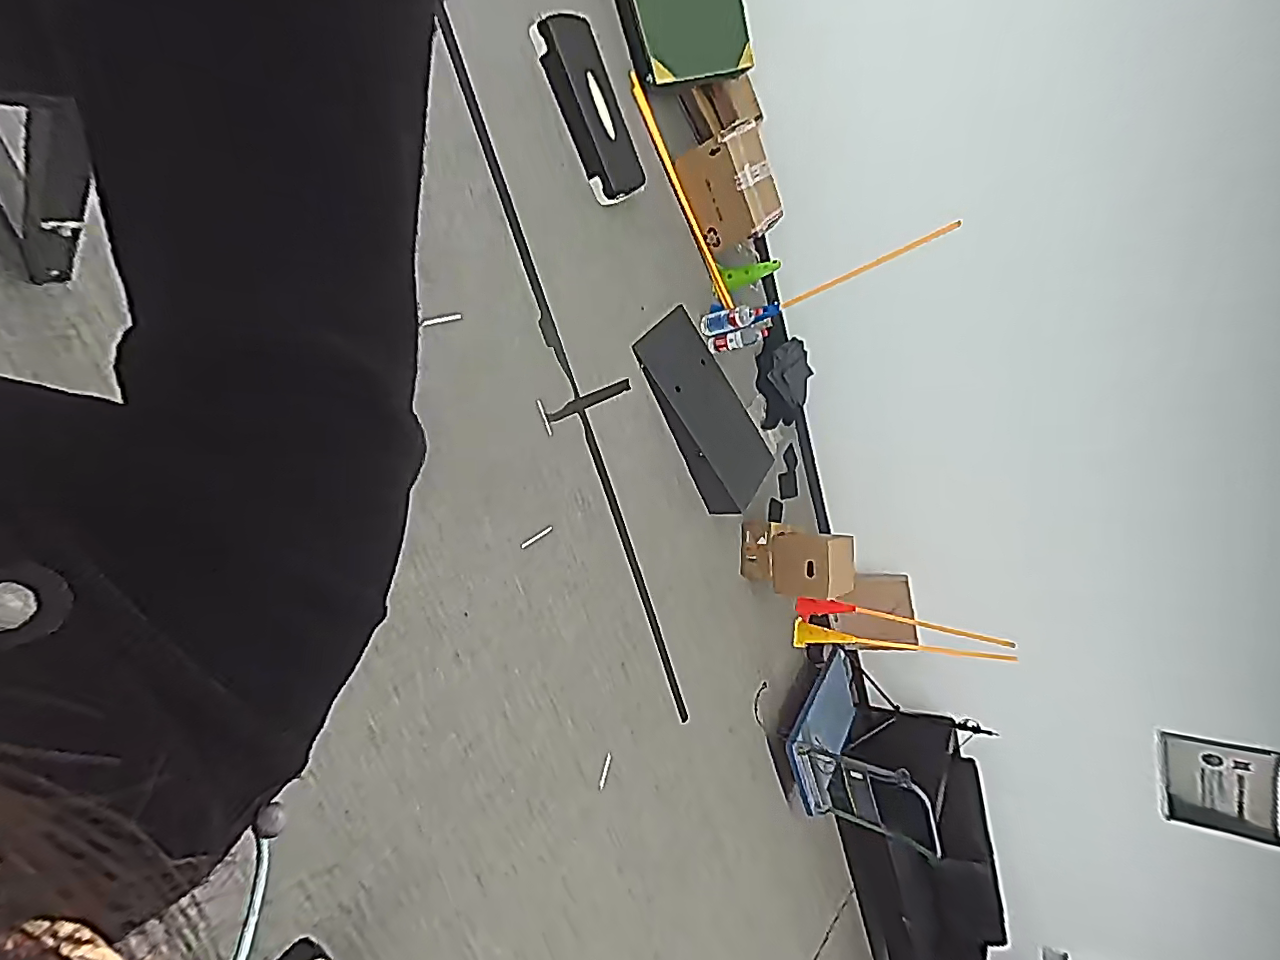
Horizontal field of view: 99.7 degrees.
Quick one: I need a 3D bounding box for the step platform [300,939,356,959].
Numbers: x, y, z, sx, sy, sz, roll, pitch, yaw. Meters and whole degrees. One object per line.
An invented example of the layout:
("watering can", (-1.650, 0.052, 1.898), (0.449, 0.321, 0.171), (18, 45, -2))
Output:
("step platform", (-0.875, 1.369, 1.099), (0.684, 0.204, 0.286), (-27, 107, -49))
